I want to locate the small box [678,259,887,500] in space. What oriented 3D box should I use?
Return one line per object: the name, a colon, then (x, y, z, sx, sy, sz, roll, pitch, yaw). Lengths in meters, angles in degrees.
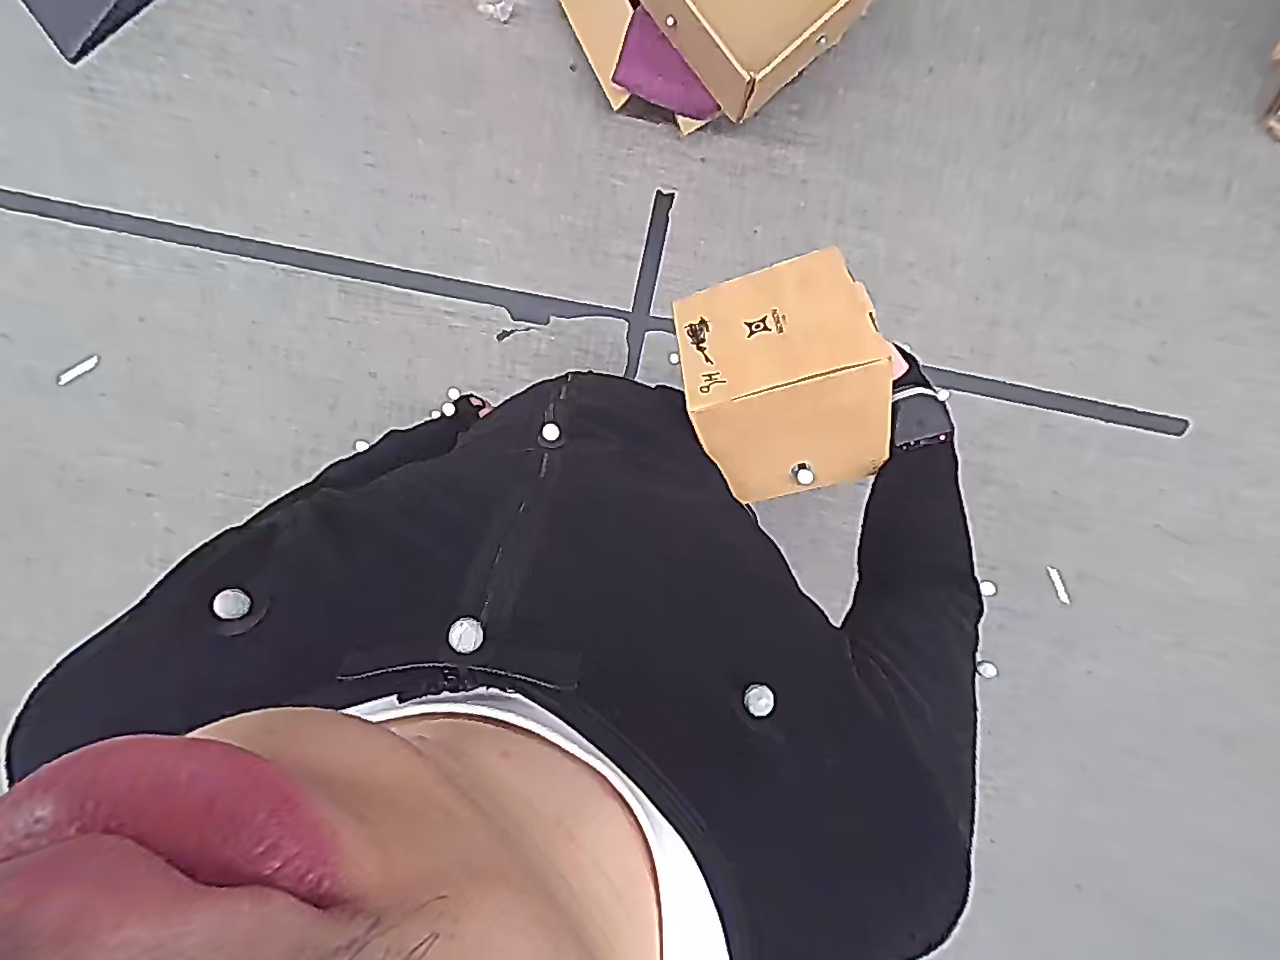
small box: (0.151, -0.100, 0.591, 0.179, 0.168, 0.176, -14, 141, 13)
